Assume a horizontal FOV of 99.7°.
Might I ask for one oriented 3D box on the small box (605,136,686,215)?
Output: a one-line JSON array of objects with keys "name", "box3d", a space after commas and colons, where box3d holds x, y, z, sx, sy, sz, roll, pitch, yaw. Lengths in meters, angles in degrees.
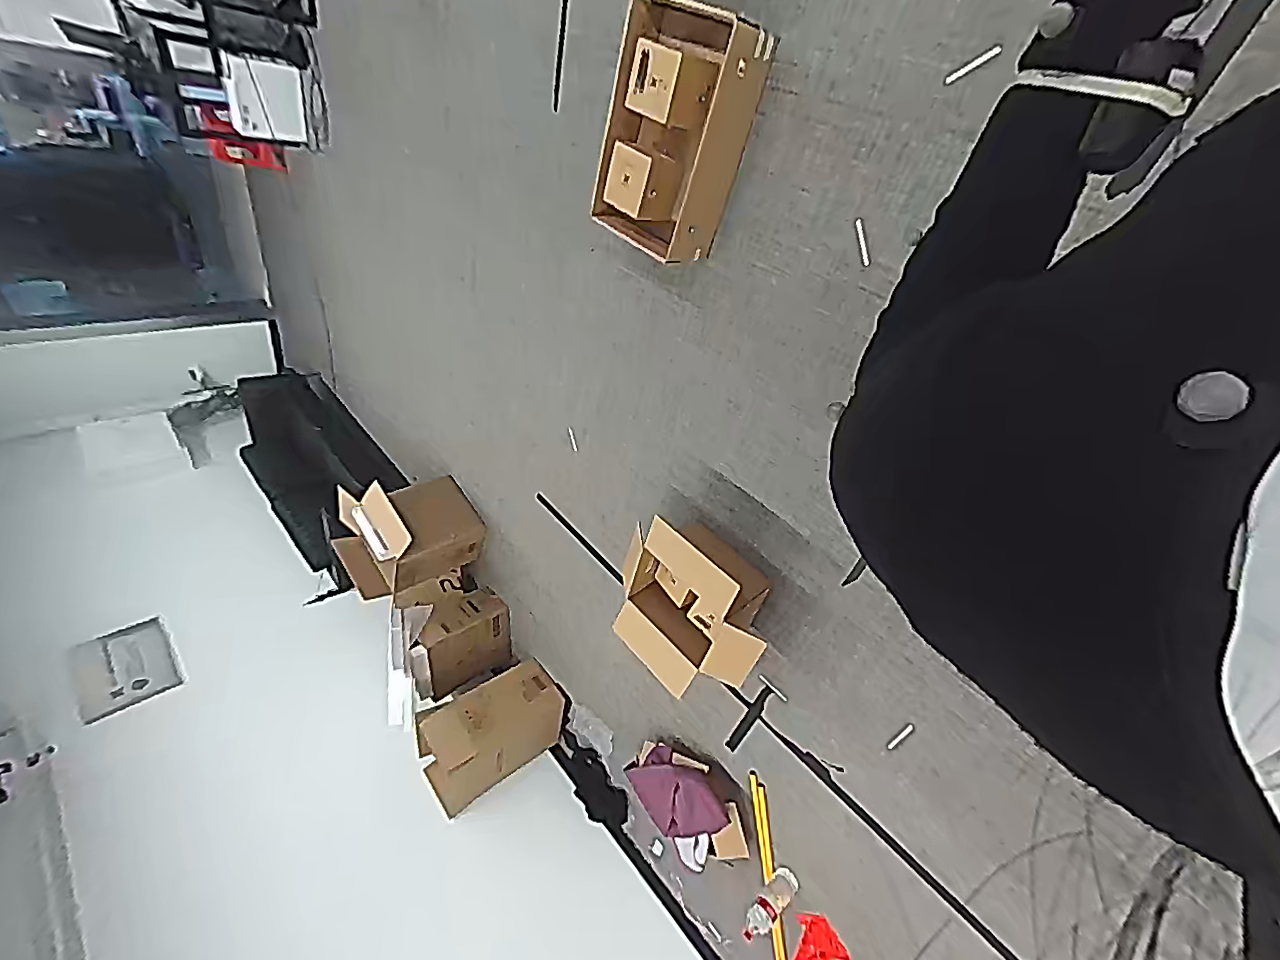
[{"name": "small box", "box3d": [0.020, -0.960, 1.718, 0.168, 0.176, 0.179, 42, 132, 25]}]
